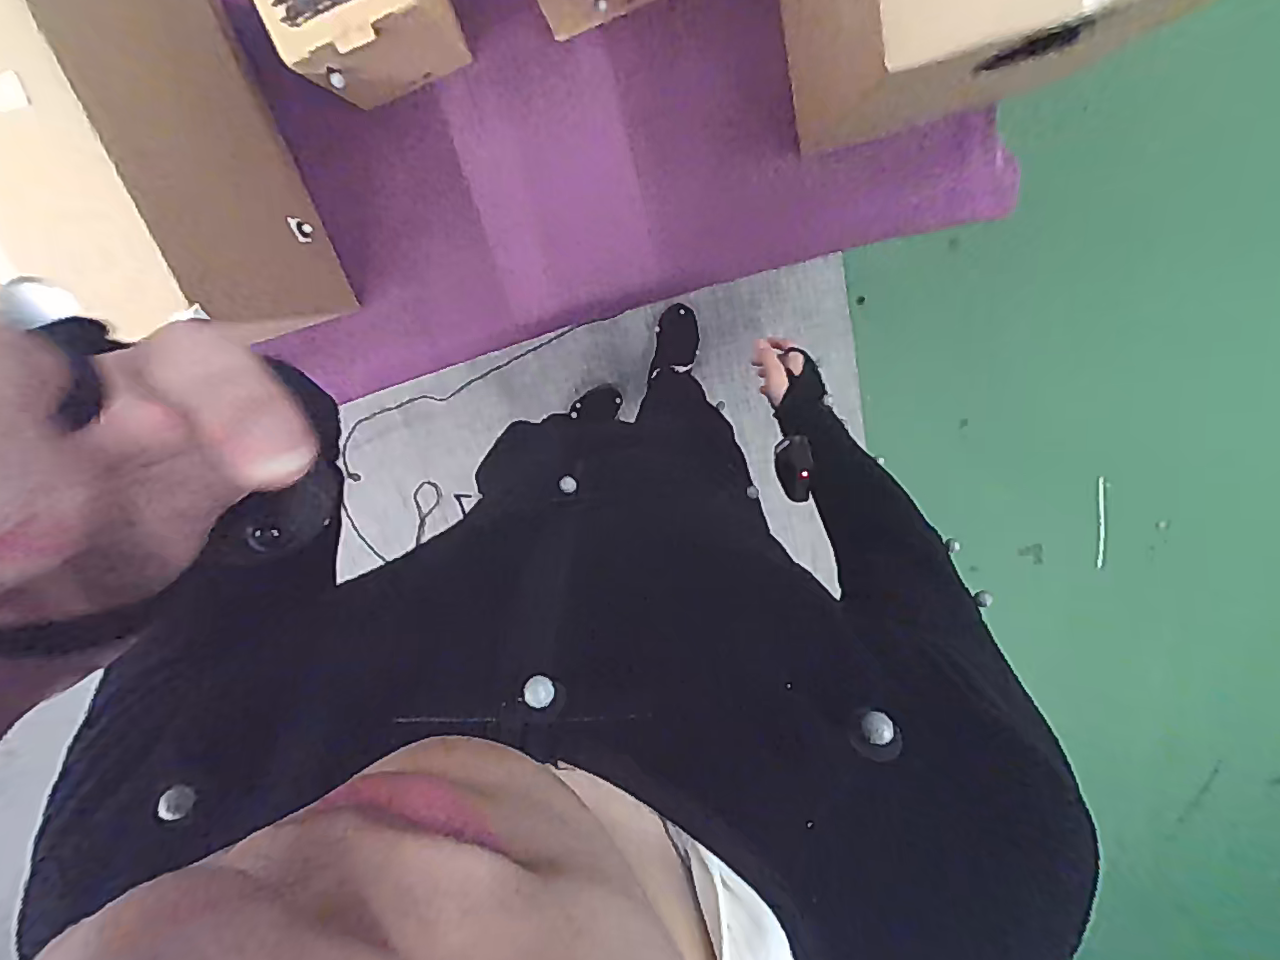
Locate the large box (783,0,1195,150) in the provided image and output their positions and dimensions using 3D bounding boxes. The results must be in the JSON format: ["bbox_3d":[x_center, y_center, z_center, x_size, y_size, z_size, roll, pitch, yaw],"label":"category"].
[{"bbox_3d":[0.308,-0.601,0.502,0.320,0.320,0.408,-13,110,8],"label":"large box"}]

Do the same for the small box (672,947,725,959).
[{"bbox_3d":[0.202,1.648,1.740,0.168,0.176,0.179,-16,110,8],"label":"small box"}]
